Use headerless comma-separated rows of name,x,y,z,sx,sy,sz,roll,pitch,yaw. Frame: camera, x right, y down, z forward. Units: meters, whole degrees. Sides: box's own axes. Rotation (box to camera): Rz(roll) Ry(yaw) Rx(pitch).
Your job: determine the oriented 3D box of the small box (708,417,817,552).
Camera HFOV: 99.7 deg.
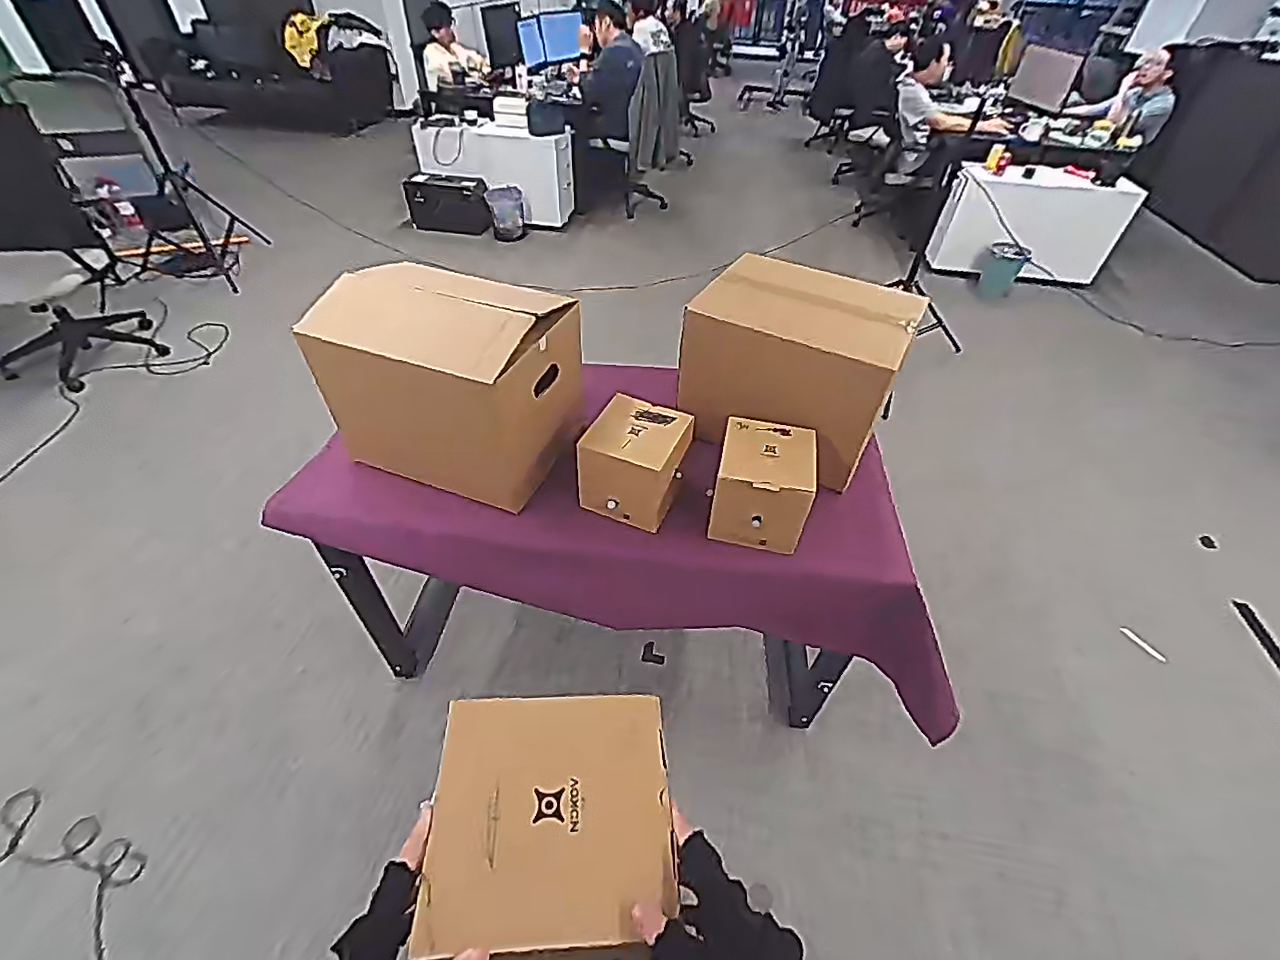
small box,0.226,0.010,1.016,0.168,0.176,0.179,11,44,5
